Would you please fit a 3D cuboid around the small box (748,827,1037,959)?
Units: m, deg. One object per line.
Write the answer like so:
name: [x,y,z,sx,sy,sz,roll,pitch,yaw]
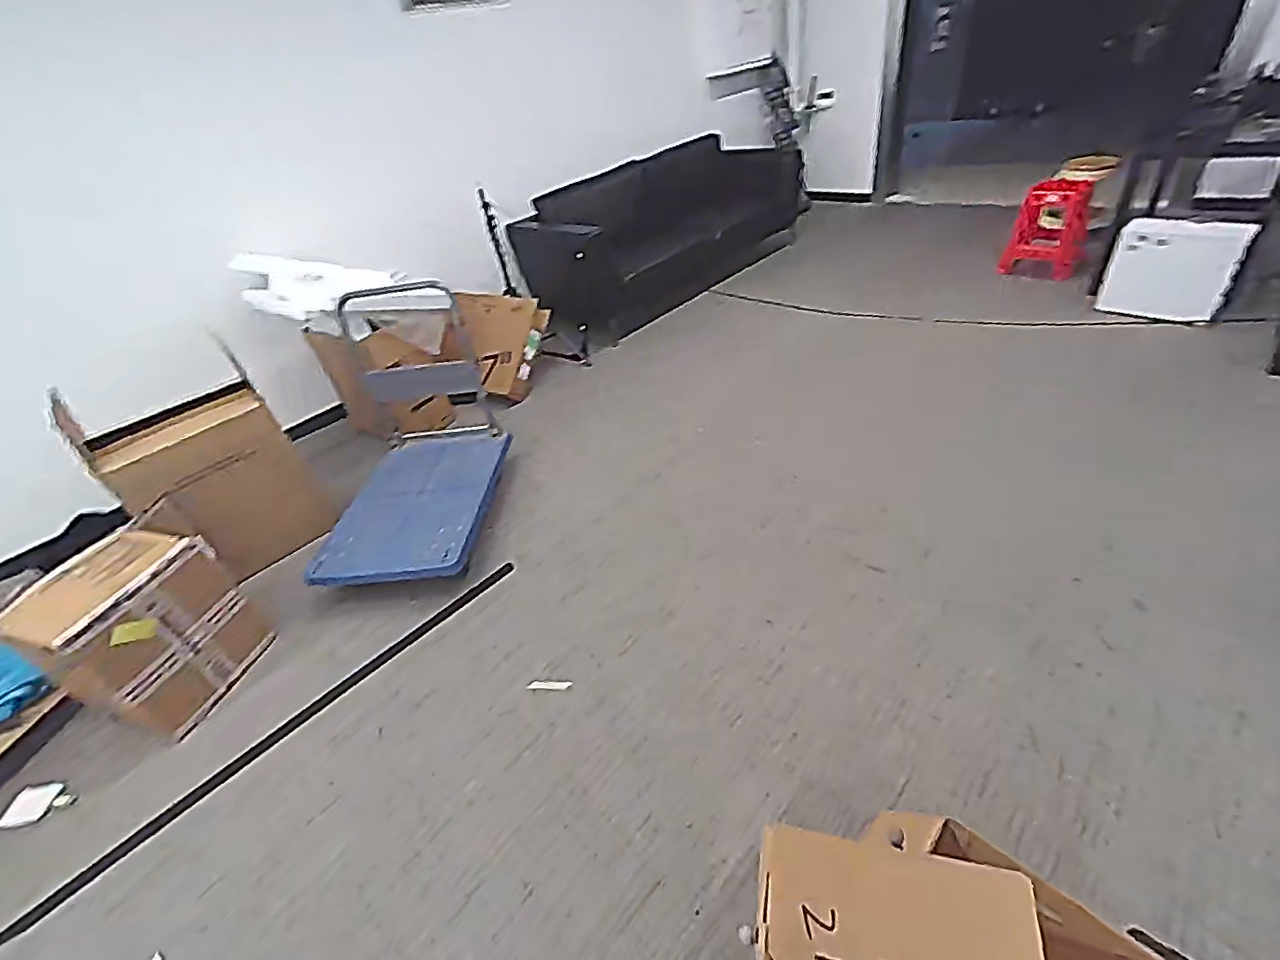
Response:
small box: [0.175,0.376,0.411,0.179,0.176,0.168,4,58,13]
